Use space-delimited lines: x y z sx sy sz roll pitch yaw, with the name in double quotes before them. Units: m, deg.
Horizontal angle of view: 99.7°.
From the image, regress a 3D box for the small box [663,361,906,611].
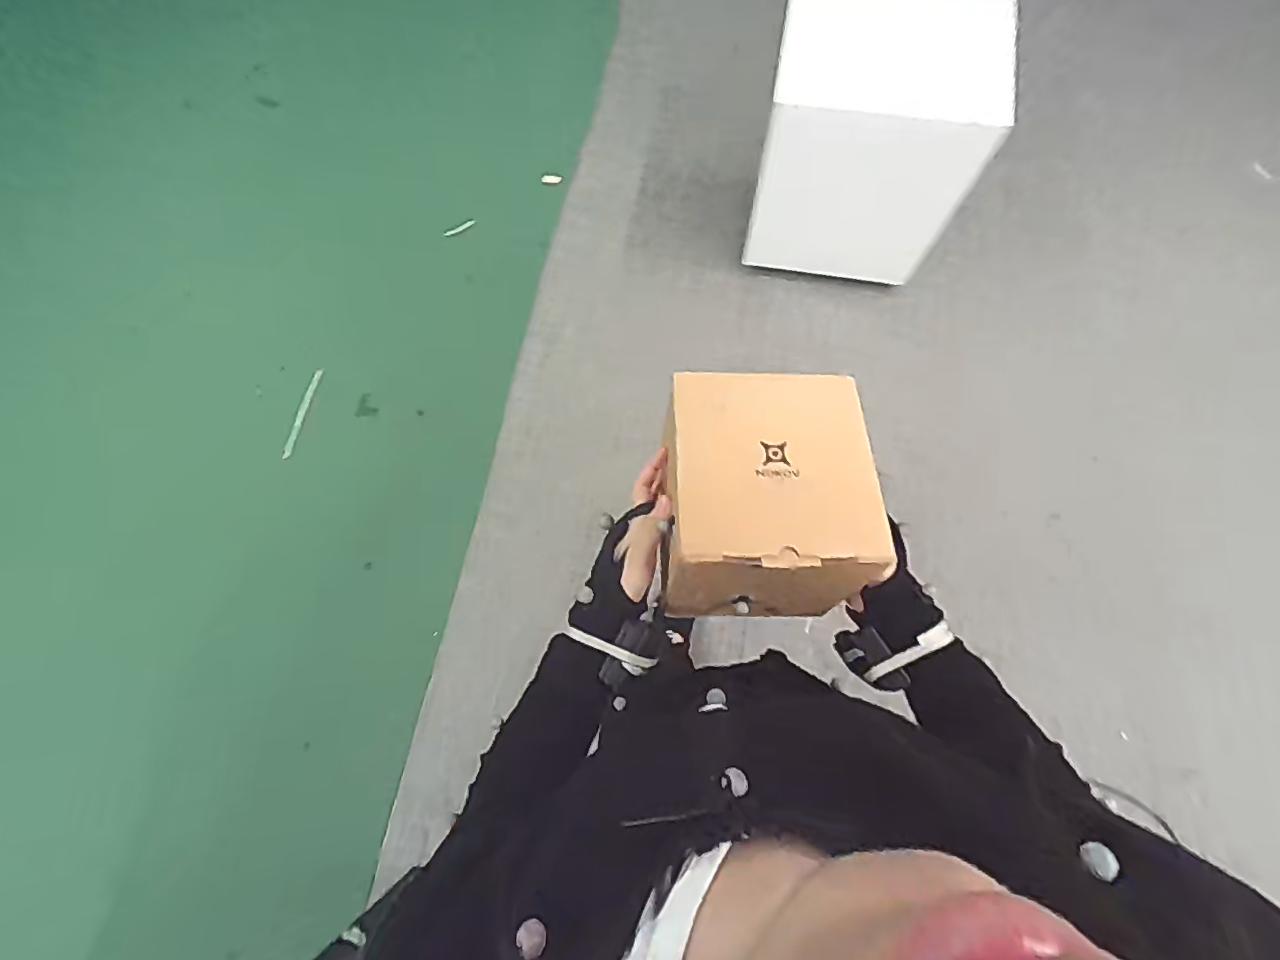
"small box" 0.111 0.012 0.504 0.168 0.176 0.179 1 62 -2
